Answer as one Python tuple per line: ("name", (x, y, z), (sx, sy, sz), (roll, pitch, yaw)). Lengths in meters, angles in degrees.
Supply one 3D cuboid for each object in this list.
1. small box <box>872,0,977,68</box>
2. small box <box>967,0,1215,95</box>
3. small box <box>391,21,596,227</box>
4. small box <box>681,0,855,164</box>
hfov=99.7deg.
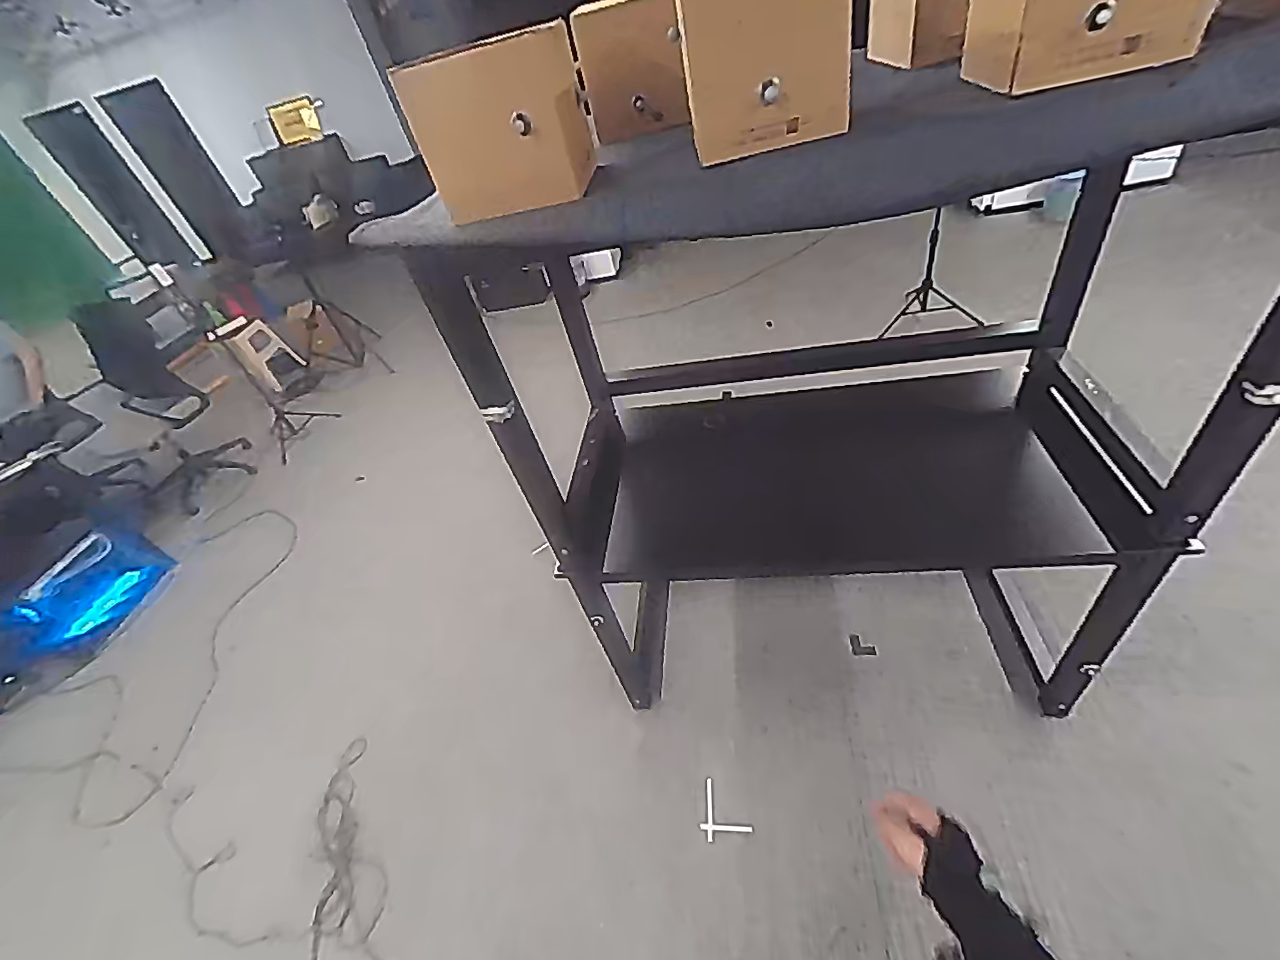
("small box", (0.453, -0.728, 0.791), (0.168, 0.176, 0.179), (-11, 42, 6))
("small box", (0.469, -0.527, 0.568), (0.168, 0.176, 0.179), (-5, 41, 13))
("small box", (-0.162, -0.439, 0.674), (0.179, 0.176, 0.168), (-6, 42, 11))
("small box", (0.140, -0.485, 0.624), (0.168, 0.176, 0.179), (-9, 40, 9))
